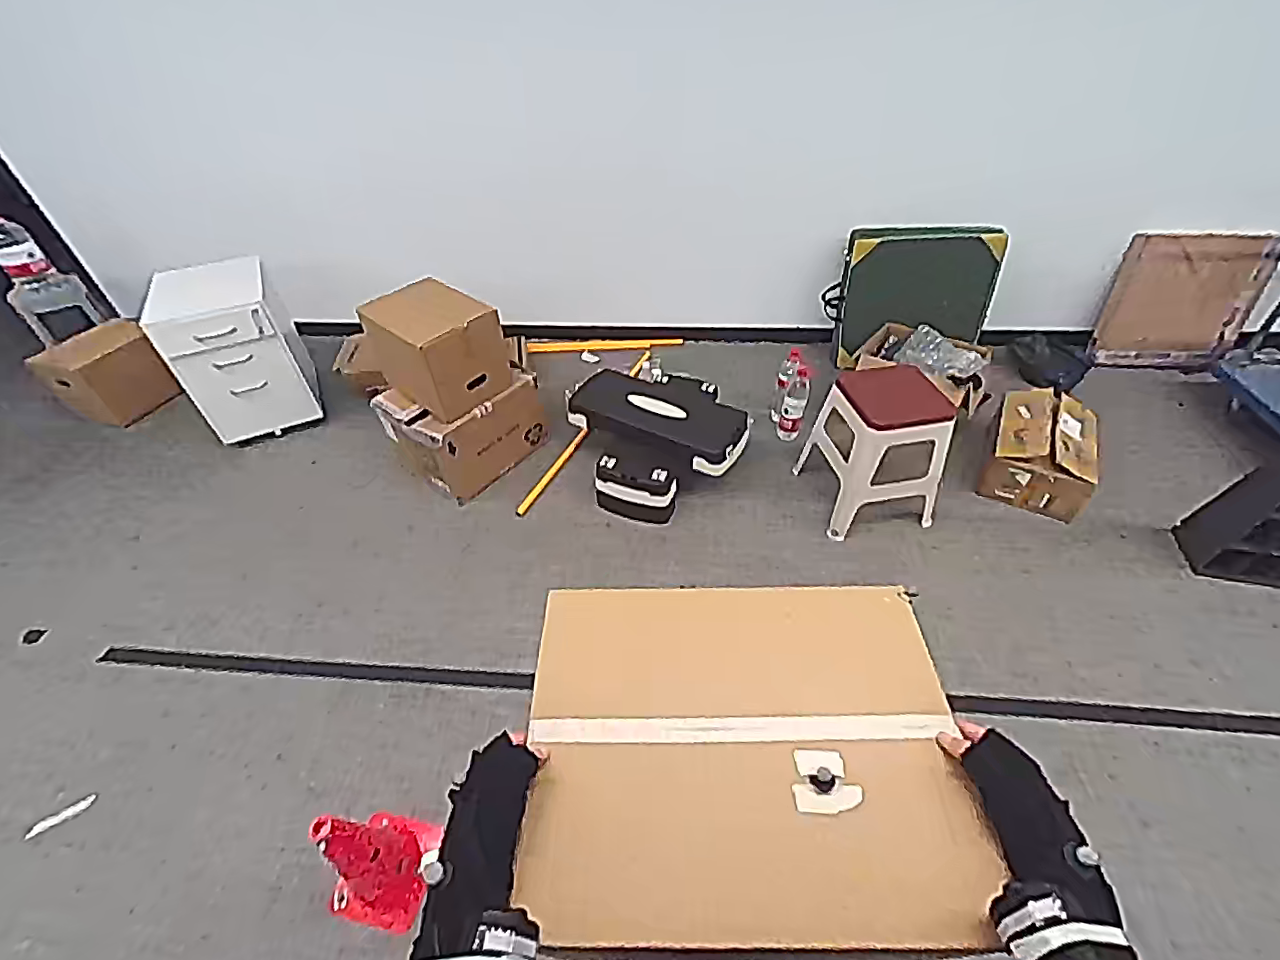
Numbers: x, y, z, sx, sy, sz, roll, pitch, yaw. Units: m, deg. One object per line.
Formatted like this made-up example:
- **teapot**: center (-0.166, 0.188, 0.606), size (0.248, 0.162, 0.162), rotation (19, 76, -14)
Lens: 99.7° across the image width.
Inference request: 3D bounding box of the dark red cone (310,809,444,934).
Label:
- **dark red cone**: center (-0.565, 0.749, 1.091), size (0.201, 0.394, 0.202), rotation (7, 45, 8)

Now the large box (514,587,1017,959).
- **large box**: center (0.099, 0.342, 0.630), size (0.408, 0.320, 0.320), rotation (-1, 47, 1)
